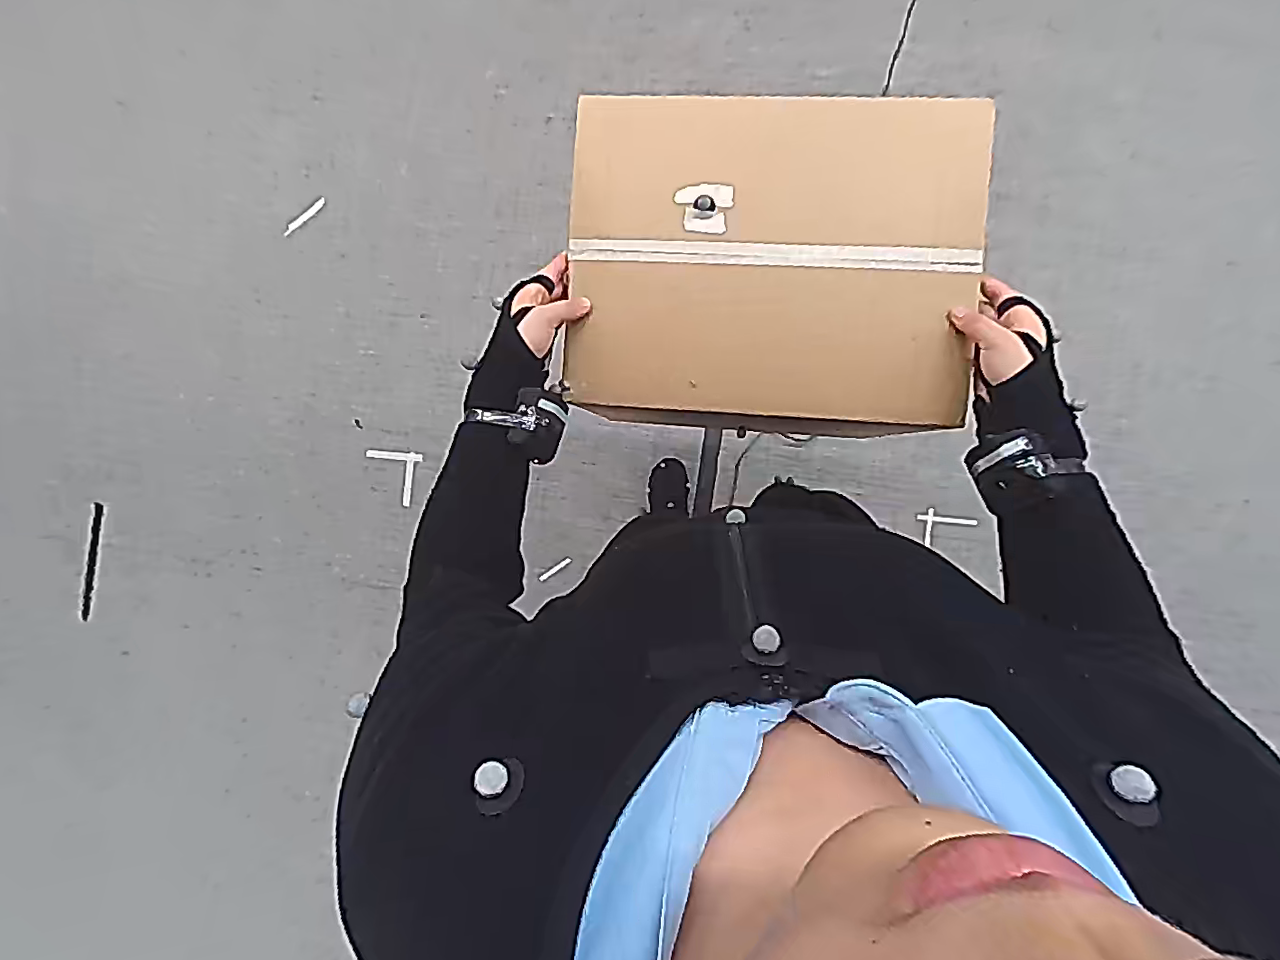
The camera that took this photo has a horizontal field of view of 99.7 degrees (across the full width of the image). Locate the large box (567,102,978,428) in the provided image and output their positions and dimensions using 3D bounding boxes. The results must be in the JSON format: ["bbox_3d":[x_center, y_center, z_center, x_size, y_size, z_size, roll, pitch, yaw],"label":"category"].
[{"bbox_3d":[0.143,-0.232,0.700,0.408,0.320,0.320,4,92,6],"label":"large box"}]
